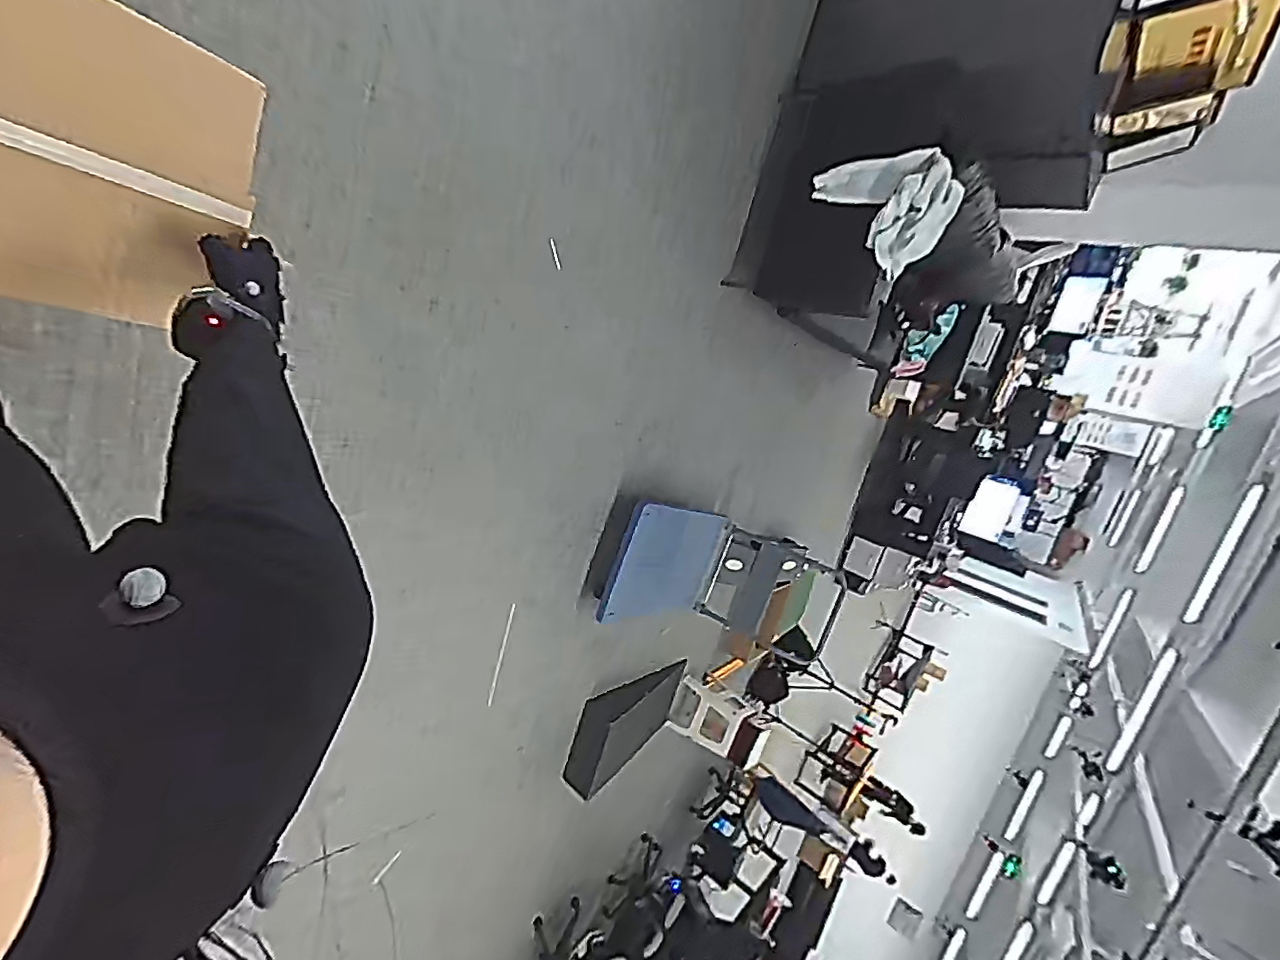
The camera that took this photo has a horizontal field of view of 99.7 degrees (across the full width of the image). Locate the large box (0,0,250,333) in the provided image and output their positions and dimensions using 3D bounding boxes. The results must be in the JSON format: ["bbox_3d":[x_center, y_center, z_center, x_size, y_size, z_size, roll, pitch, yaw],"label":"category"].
[{"bbox_3d":[-0.722,-0.392,0.583,0.408,0.320,0.320,5,110,-53],"label":"large box"}]
